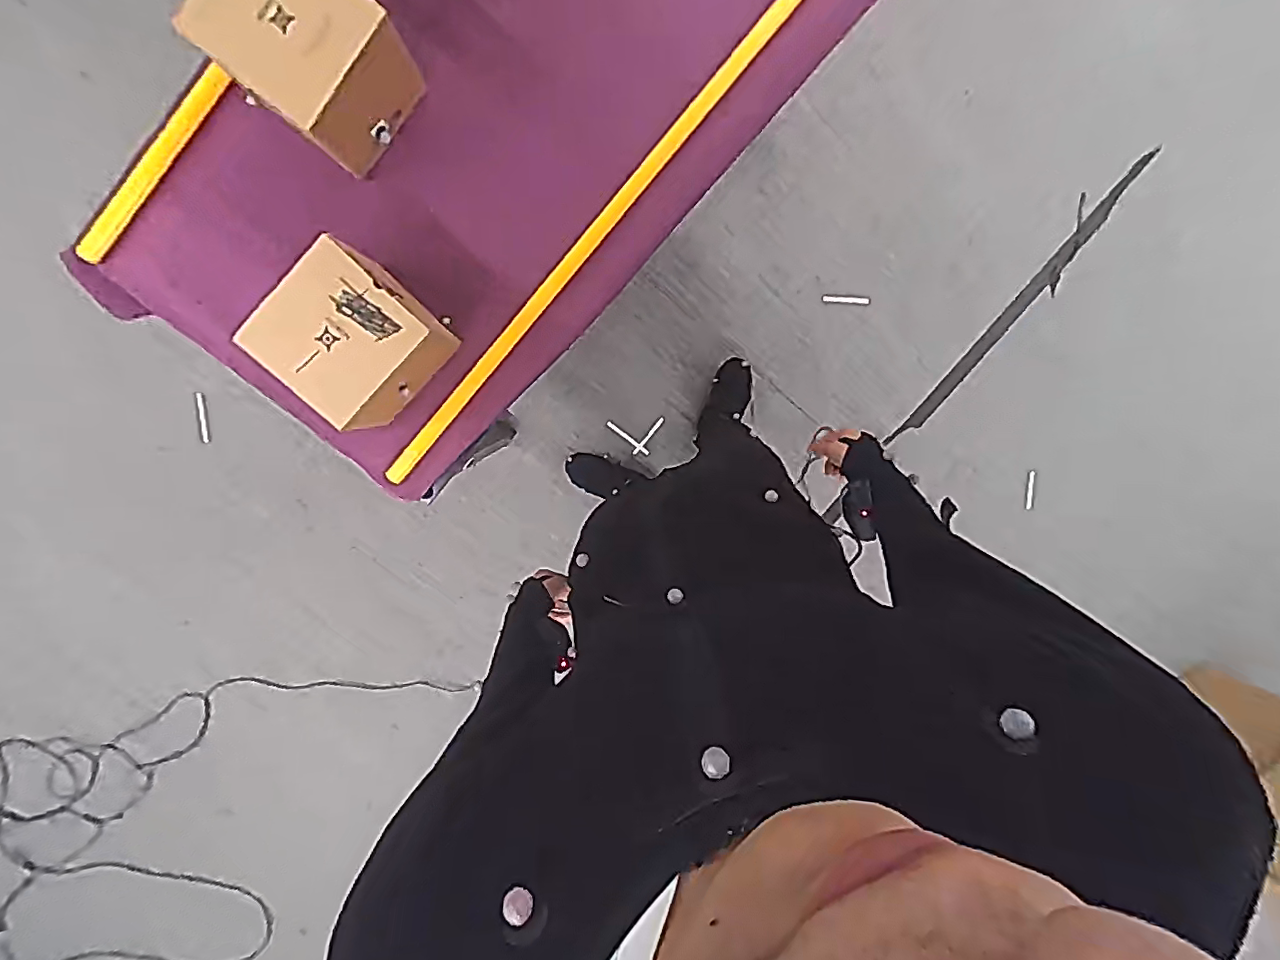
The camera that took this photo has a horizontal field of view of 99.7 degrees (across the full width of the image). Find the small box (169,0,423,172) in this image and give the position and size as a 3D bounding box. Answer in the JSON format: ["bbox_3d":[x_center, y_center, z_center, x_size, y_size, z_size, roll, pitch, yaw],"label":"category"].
[{"bbox_3d":[-0.413,-0.534,0.683,0.179,0.176,0.168,37,96,-10],"label":"small box"}]

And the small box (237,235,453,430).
[{"bbox_3d":[-0.380,-0.191,0.740,0.168,0.176,0.179,43,94,-10],"label":"small box"}]
